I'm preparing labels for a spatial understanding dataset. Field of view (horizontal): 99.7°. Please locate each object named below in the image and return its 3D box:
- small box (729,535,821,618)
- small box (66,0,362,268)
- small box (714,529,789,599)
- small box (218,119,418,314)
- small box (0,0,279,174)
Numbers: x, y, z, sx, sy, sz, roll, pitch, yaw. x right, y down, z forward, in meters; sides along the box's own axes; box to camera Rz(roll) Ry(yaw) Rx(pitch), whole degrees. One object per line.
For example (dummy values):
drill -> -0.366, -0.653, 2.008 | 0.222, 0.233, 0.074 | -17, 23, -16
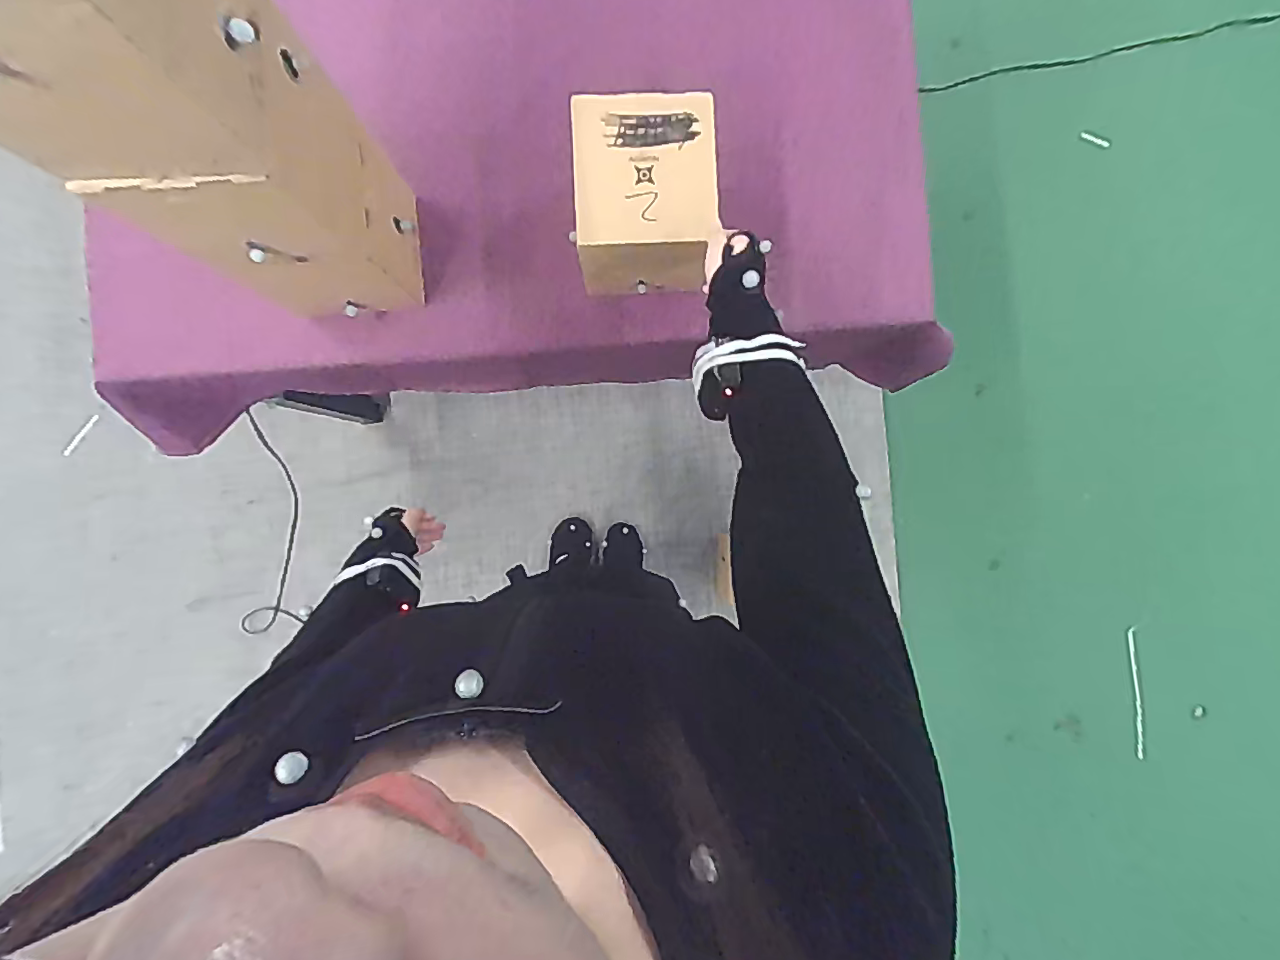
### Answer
small box -> 0.311, 0.223, 1.283 | 0.179, 0.176, 0.168 | -3, 91, -3
small box -> -0.393, -0.328, 0.526 | 0.168, 0.176, 0.179 | -4, 90, -1
small box -> 0.297, 0.222, 1.445 | 0.179, 0.176, 0.168 | 0, 90, -3
small box -> -0.399, -0.322, 0.691 | 0.179, 0.176, 0.168 | -6, 89, -3
small box -> -0.382, -0.330, 0.362 | 0.179, 0.176, 0.168 | -2, 90, -3
